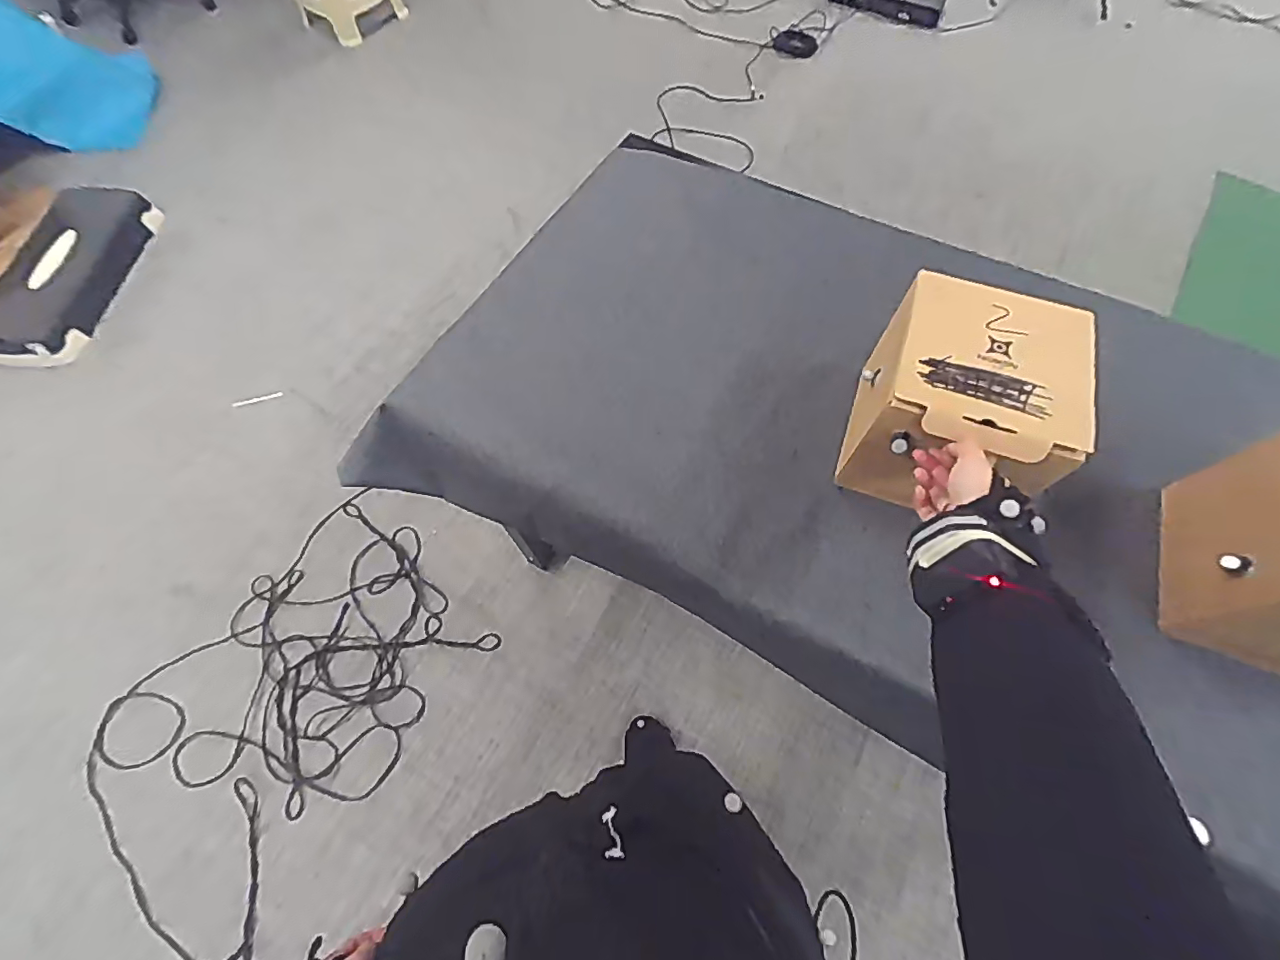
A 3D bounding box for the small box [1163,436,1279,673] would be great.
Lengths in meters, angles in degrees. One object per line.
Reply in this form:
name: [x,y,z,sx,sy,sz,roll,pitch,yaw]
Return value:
small box: [0.630,0.078,0.490,0.168,0.176,0.179,21,65,10]
